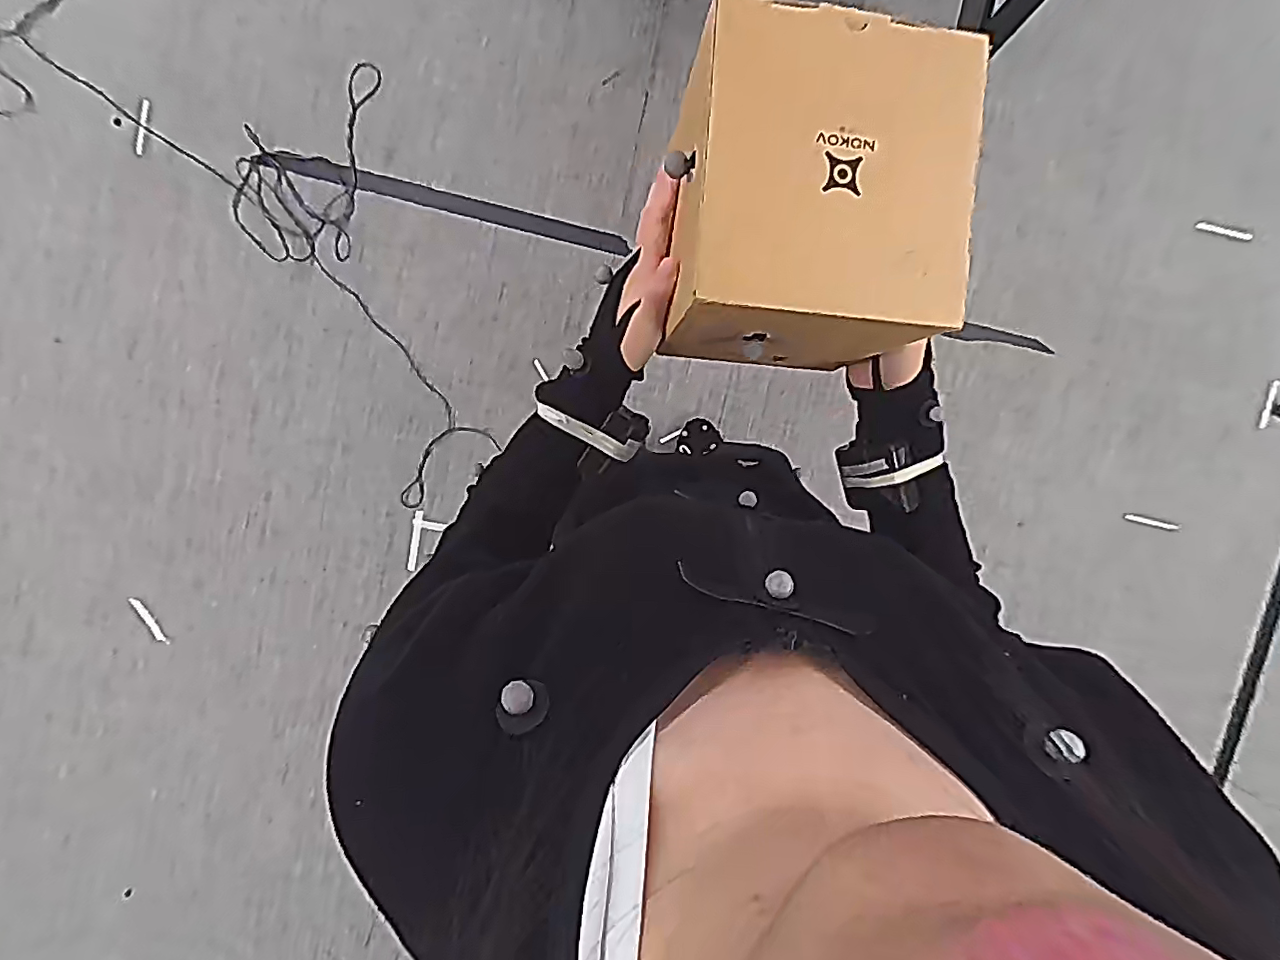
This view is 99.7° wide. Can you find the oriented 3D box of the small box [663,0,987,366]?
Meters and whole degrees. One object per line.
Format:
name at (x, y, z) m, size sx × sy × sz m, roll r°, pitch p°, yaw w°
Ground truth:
small box at (0.113, -0.187, 0.398) m, size 0.168 × 0.176 × 0.179 m, roll 4°, pitch 91°, yaw -7°
